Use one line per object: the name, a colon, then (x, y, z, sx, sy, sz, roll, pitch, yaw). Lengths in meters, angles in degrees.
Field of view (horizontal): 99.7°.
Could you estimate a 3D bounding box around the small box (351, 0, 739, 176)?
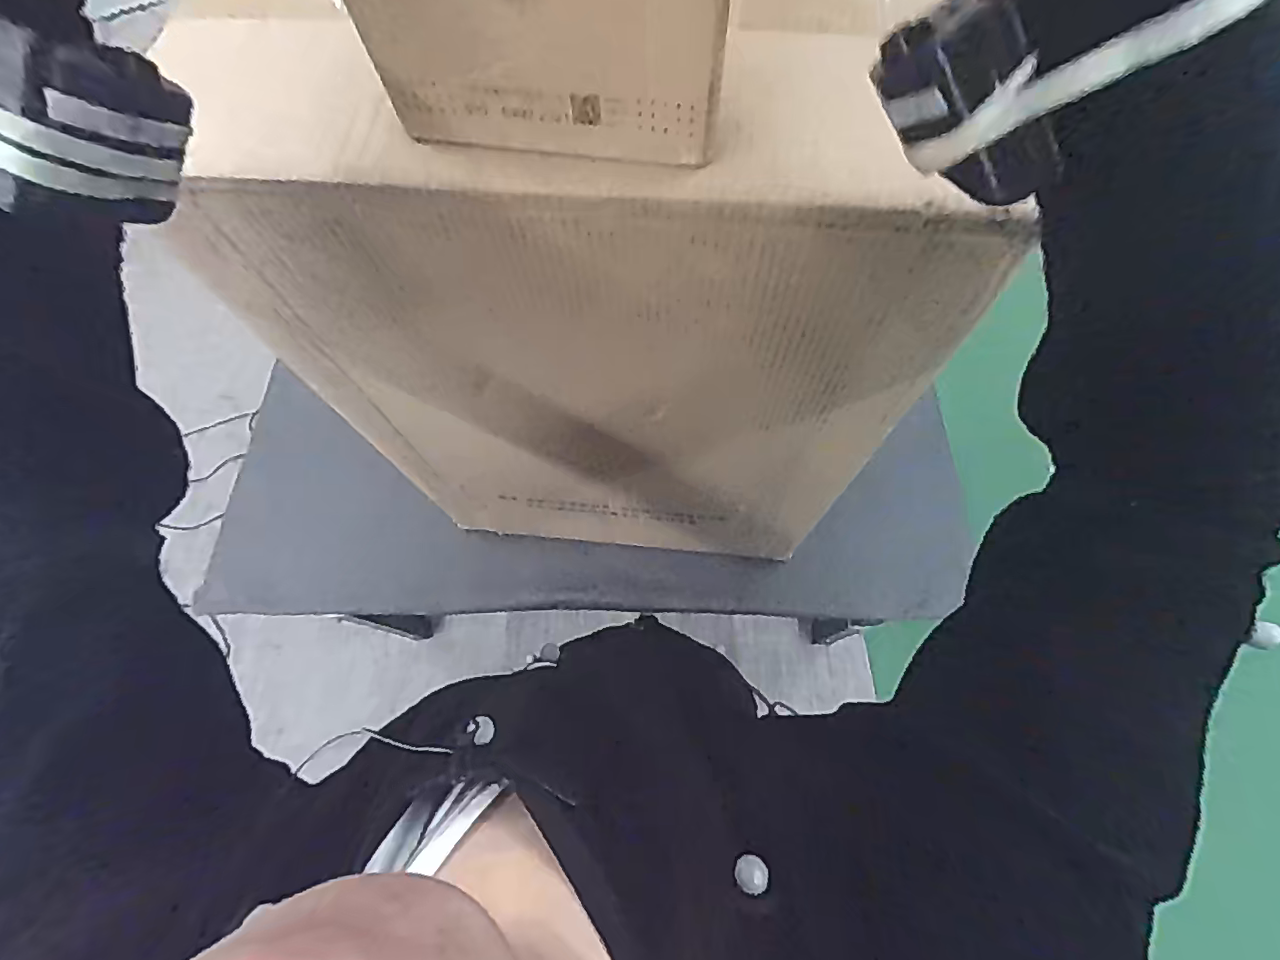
small box: (-0.034, -0.273, 0.247, 0.168, 0.176, 0.179, 9, 69, 6)
